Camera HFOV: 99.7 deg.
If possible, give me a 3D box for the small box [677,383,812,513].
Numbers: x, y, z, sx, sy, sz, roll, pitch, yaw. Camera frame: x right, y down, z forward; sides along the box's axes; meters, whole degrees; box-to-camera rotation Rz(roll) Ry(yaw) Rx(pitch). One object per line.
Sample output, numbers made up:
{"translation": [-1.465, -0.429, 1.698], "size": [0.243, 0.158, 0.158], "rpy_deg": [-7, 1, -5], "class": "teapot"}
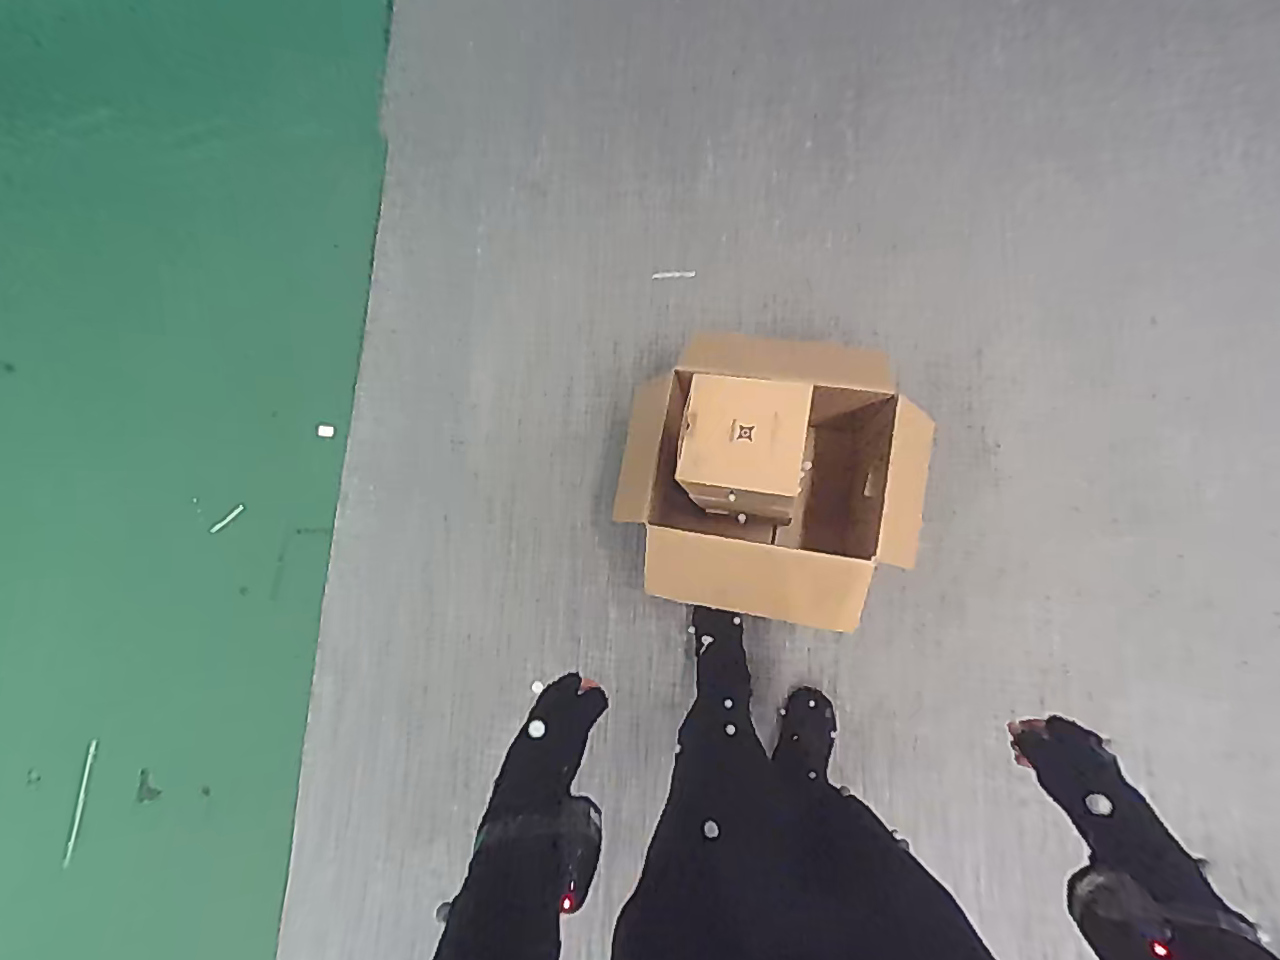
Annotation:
{"translation": [0.167, -0.043, 0.859], "size": [0.179, 0.176, 0.168], "rpy_deg": [7, 83, 13], "class": "small box"}
